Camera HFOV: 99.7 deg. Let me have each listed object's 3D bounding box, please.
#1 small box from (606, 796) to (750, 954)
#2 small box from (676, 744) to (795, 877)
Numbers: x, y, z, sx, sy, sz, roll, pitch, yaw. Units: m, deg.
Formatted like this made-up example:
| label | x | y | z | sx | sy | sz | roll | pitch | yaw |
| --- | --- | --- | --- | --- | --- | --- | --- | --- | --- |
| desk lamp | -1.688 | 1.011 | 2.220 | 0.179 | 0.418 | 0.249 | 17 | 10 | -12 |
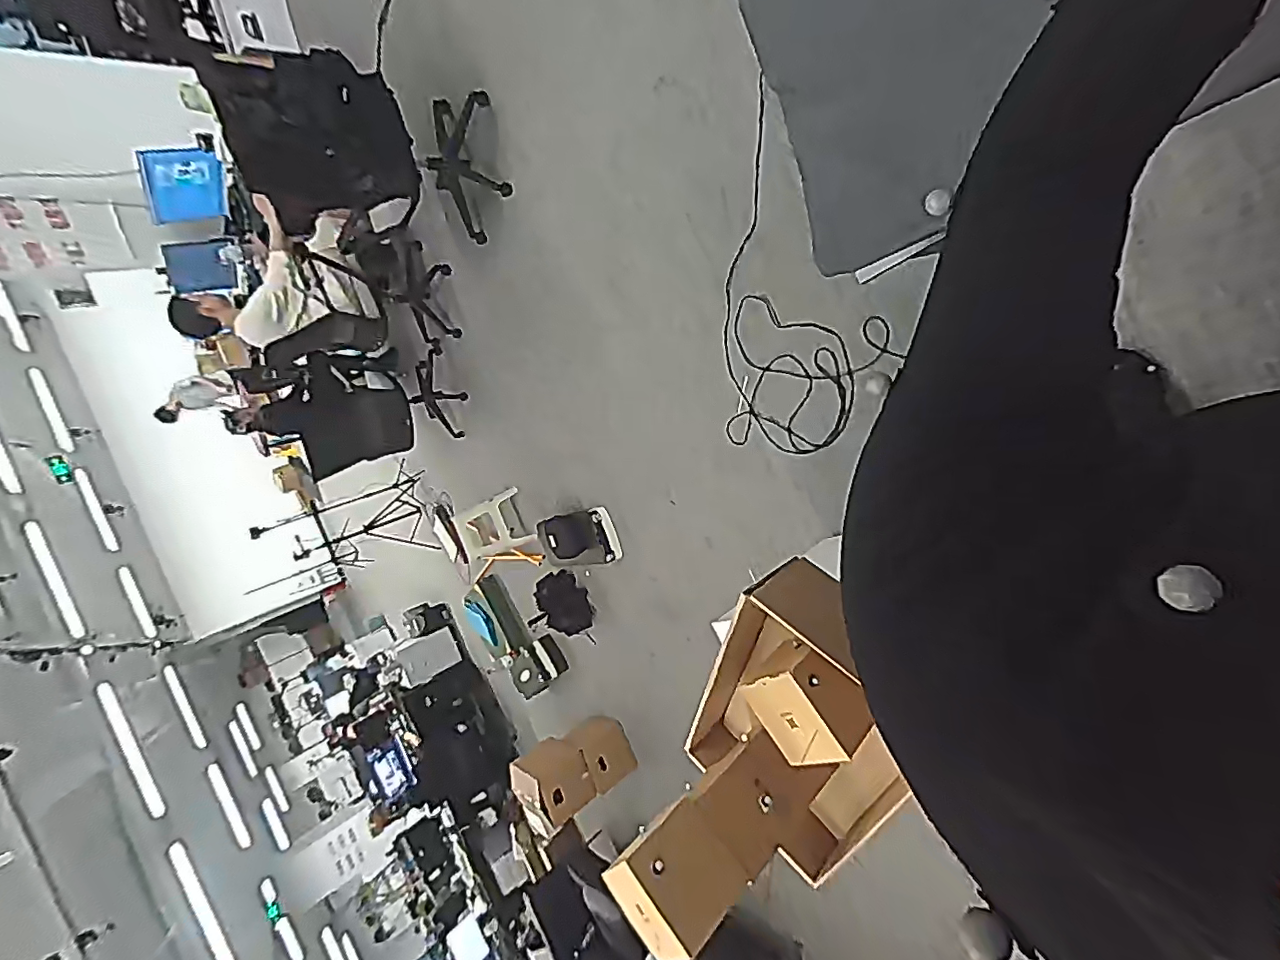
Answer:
| label | x | y | z | sx | sy | sz | roll | pitch | yaw |
| --- | --- | --- | --- | --- | --- | --- | --- | --- | --- |
| small box | 0.070 | 0.729 | 1.014 | 0.179 | 0.176 | 0.168 | 45 | 138 | 21 |
| small box | 0.188 | 0.689 | 1.123 | 0.168 | 0.176 | 0.179 | 48 | 138 | 18 |
